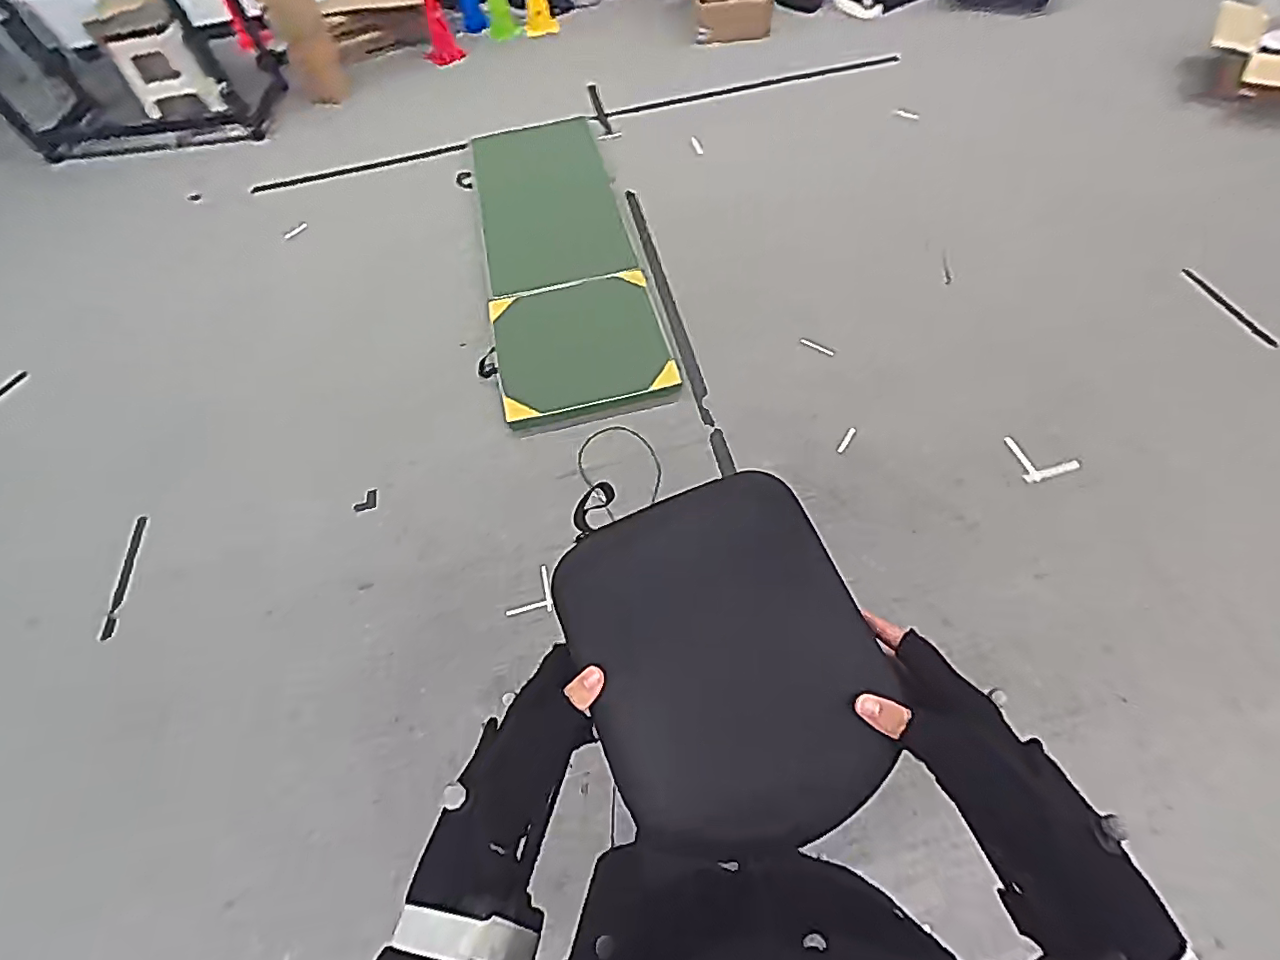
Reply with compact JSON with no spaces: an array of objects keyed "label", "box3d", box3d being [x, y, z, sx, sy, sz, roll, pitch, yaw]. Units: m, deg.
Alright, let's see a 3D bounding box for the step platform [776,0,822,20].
[{"label":"step platform","box3d":[1.135,-3.018,3.237,0.684,0.204,0.286,-40,65,-17]}]
